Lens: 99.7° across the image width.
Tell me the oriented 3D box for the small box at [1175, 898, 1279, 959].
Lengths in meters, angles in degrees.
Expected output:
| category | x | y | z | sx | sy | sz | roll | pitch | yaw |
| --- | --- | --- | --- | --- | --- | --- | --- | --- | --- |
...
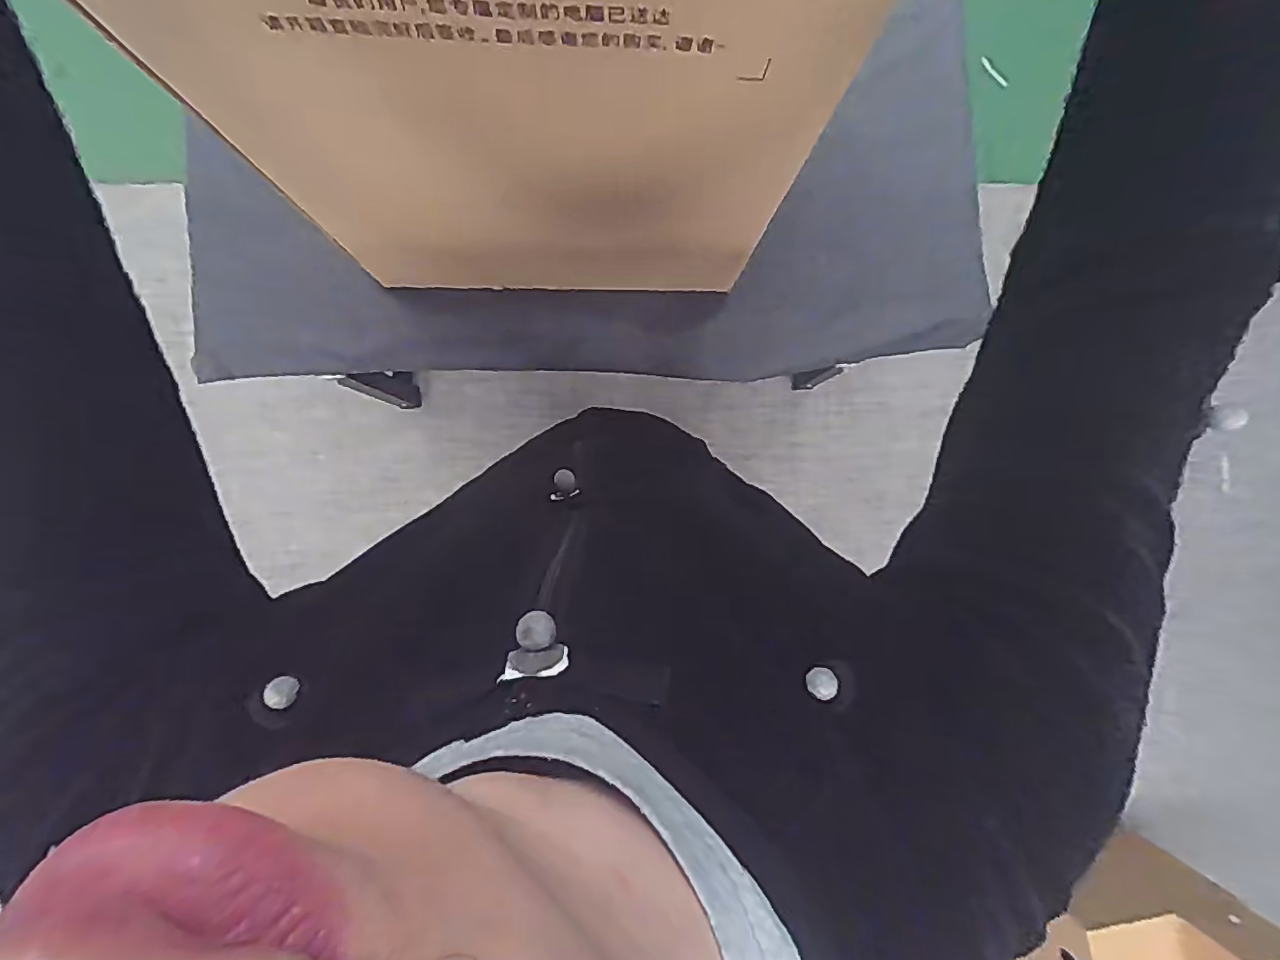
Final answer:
| category | x | y | z | sx | sy | sz | roll | pitch | yaw |
| --- | --- | --- | --- | --- | --- | --- | --- | --- | --- |
| small box | 1.366 | 1.090 | 1.207 | 0.168 | 0.176 | 0.179 | -7 | 86 | -3 |
